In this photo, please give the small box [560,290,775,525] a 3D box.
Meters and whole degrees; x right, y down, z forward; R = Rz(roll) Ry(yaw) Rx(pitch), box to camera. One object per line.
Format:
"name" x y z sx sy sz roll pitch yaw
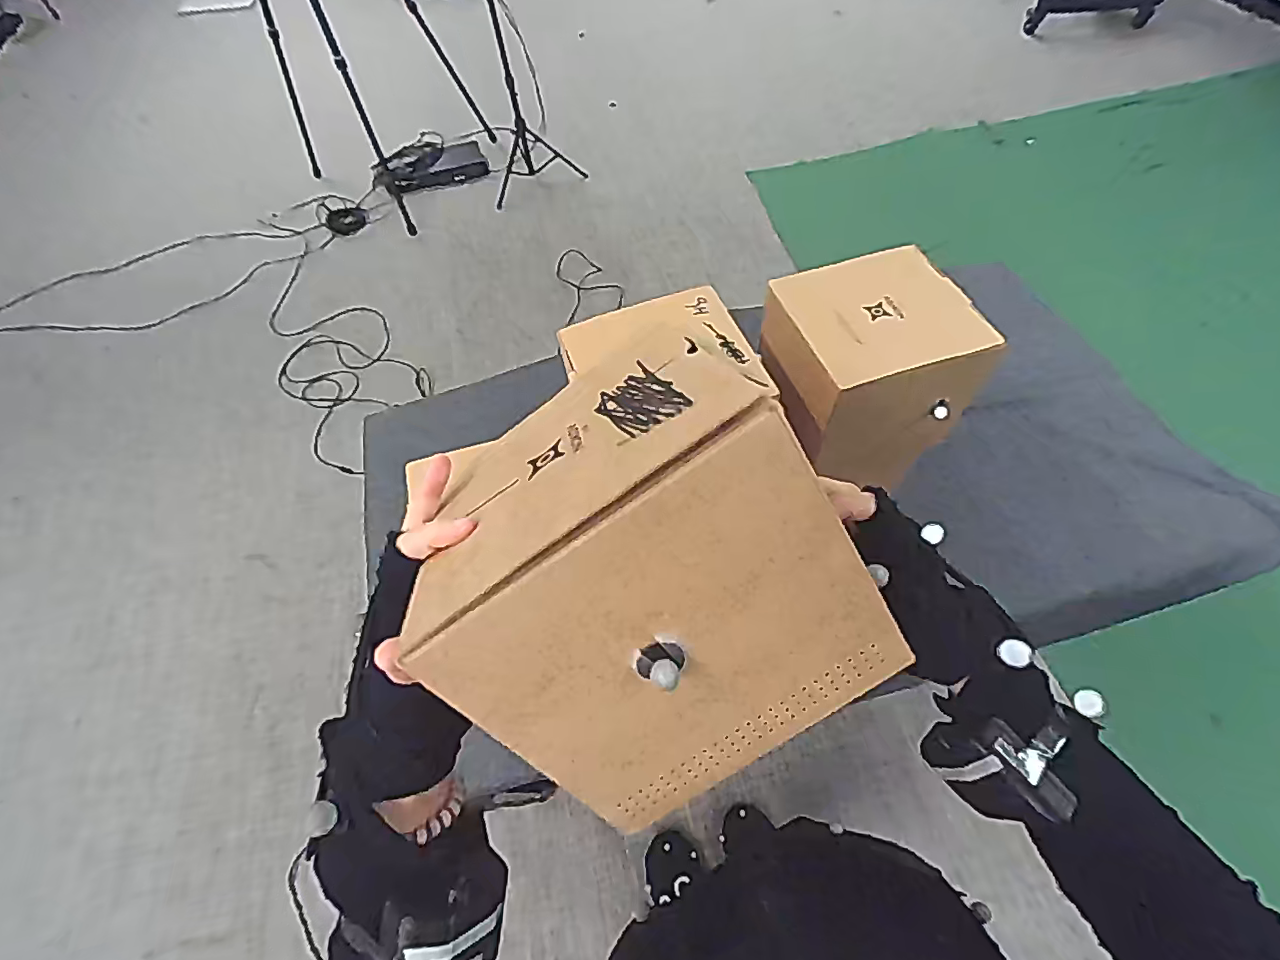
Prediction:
"small box" 0.029 -0.073 0.605 0.179 0.176 0.168 -19 60 -6
